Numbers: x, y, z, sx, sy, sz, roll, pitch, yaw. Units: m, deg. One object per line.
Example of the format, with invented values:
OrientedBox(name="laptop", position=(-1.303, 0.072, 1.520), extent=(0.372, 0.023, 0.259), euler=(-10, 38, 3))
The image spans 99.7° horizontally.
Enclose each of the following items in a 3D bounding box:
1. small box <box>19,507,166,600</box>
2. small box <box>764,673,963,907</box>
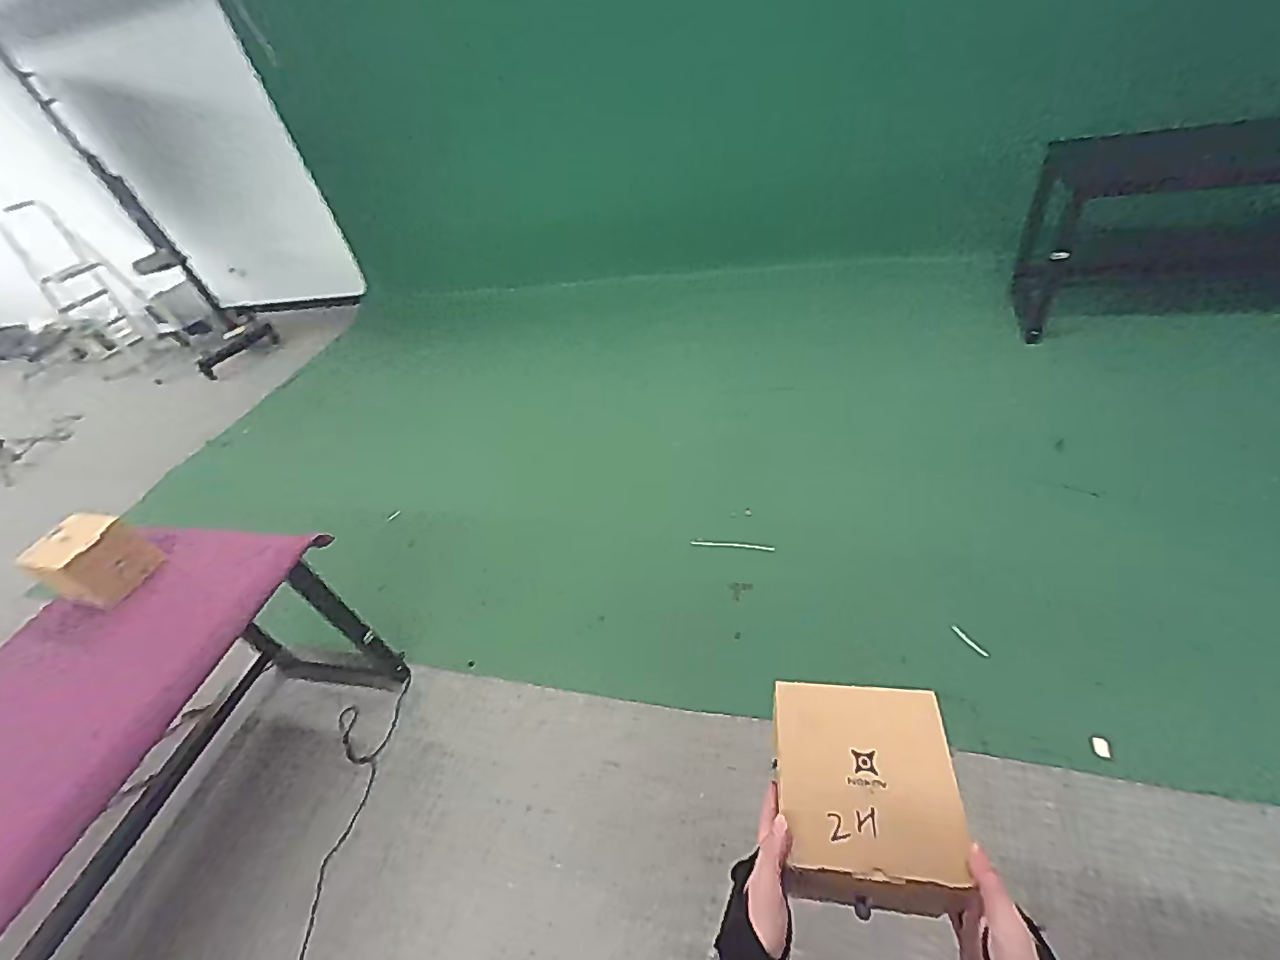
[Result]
OrientedBox(name="small box", position=(-1.412, 0.195, 1.410), extent=(0.179, 0.176, 0.168), euler=(5, 46, 16))
OrientedBox(name="small box", position=(0.222, 0.336, 0.592), extent=(0.168, 0.176, 0.179), euler=(-1, 46, 12))
